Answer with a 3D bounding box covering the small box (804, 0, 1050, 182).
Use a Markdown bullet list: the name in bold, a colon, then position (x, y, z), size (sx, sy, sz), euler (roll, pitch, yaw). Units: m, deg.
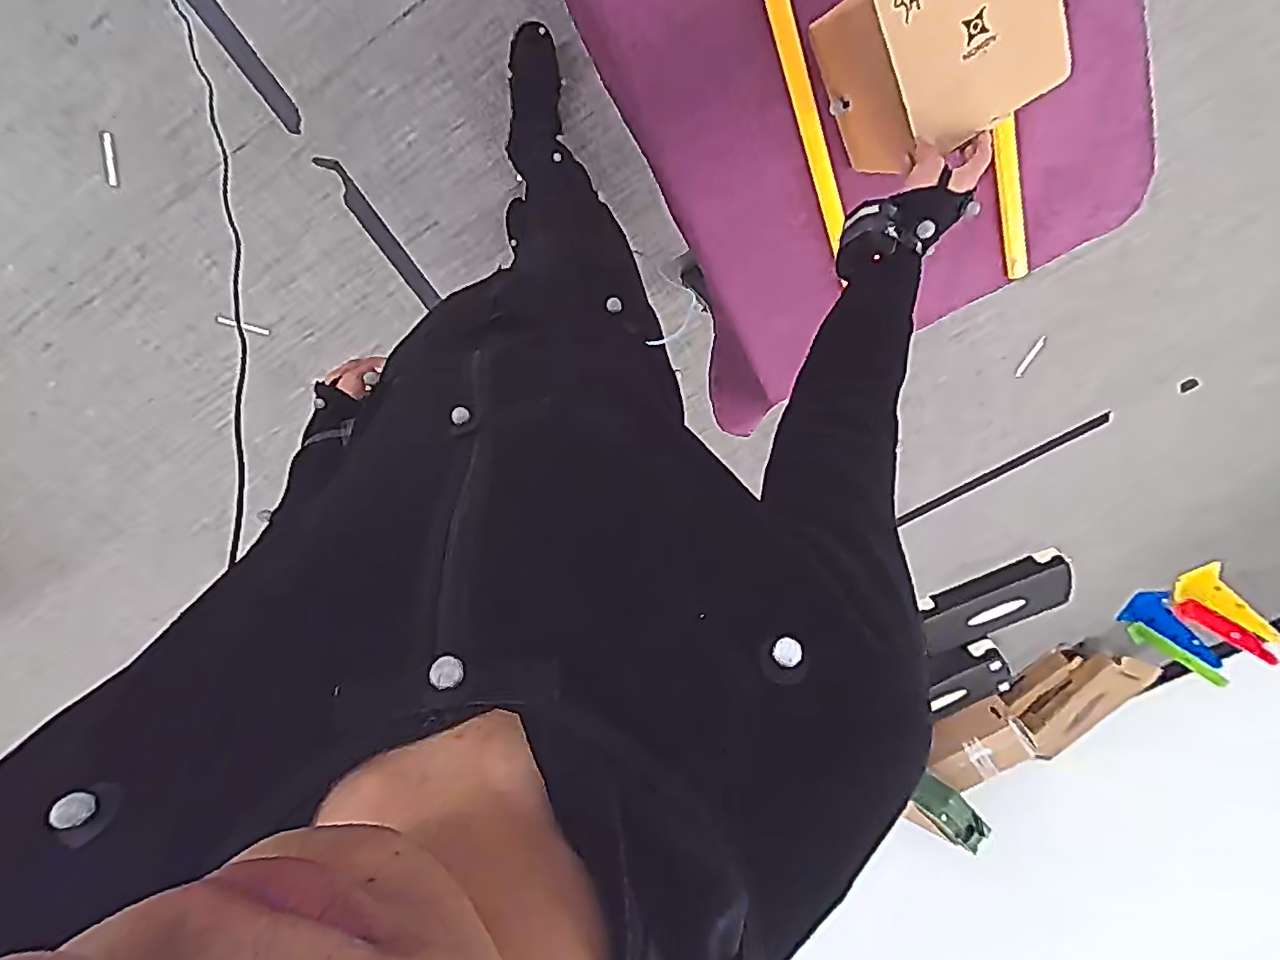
- **small box**: position (0.315, -0.474, 0.615), size (0.168, 0.176, 0.179), euler (-31, 121, 11)
